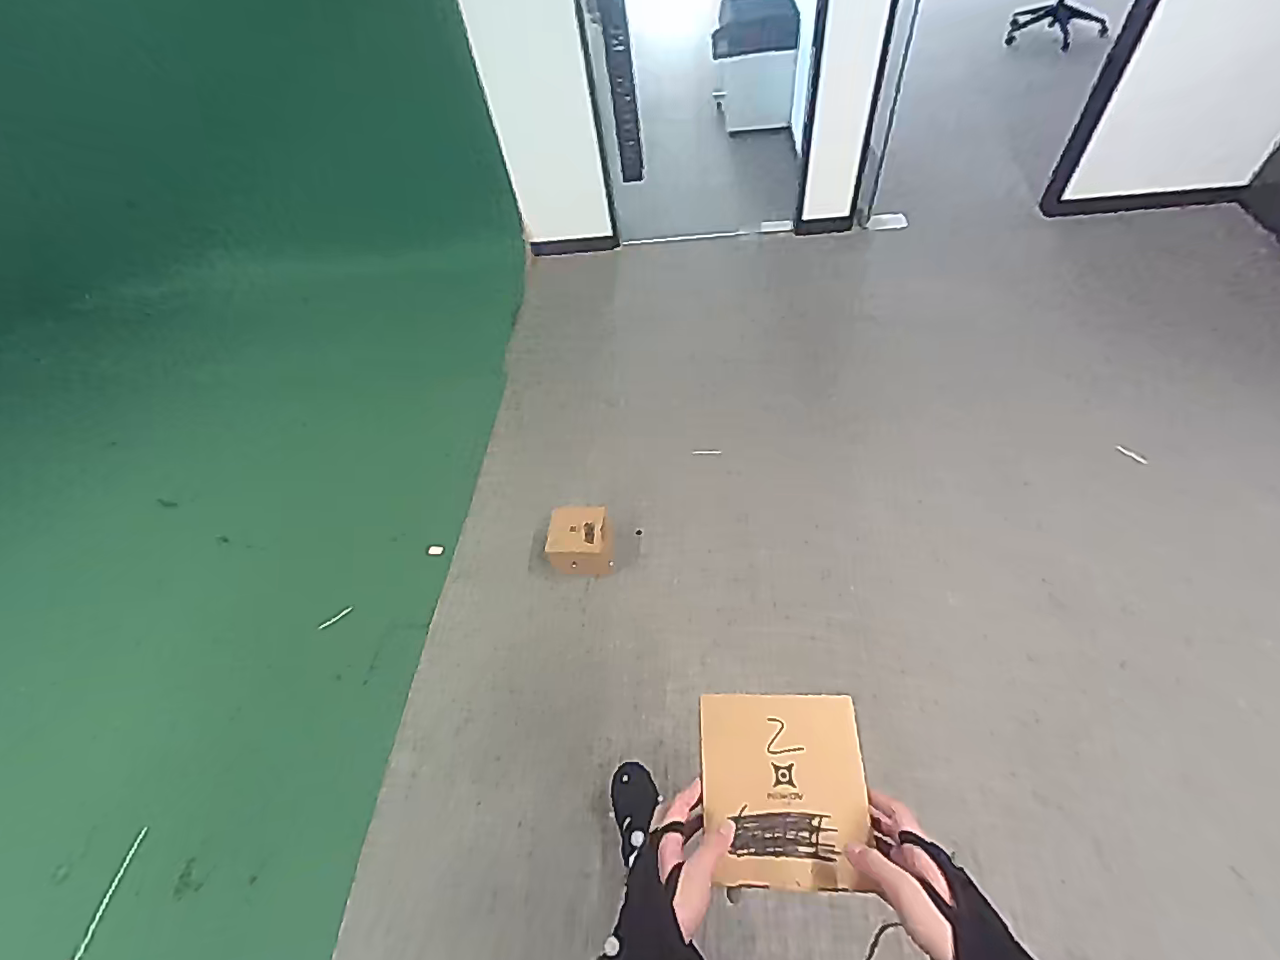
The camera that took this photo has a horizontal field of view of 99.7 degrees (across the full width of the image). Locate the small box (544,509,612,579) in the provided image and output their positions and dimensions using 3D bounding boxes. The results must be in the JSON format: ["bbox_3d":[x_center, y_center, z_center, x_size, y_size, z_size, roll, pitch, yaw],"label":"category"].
[{"bbox_3d":[-0.193,0.209,1.746,0.179,0.176,0.168,-1,53,8],"label":"small box"}]
